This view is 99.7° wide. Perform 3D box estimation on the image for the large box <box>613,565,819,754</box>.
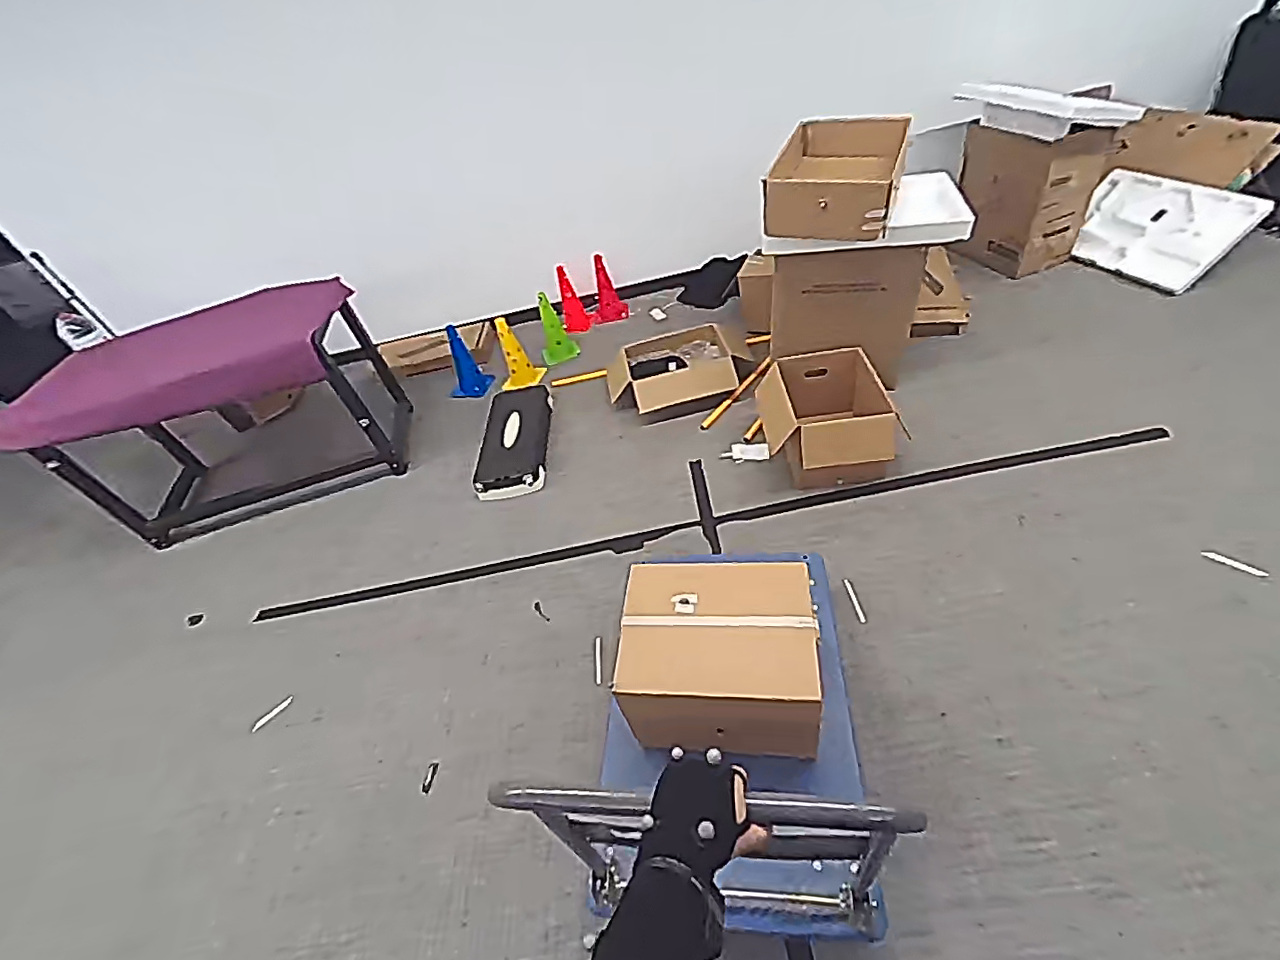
[{"bbox_3d":[0.186,0.419,1.254,0.408,0.320,0.320,-4,43,13],"label":"large box"}]
